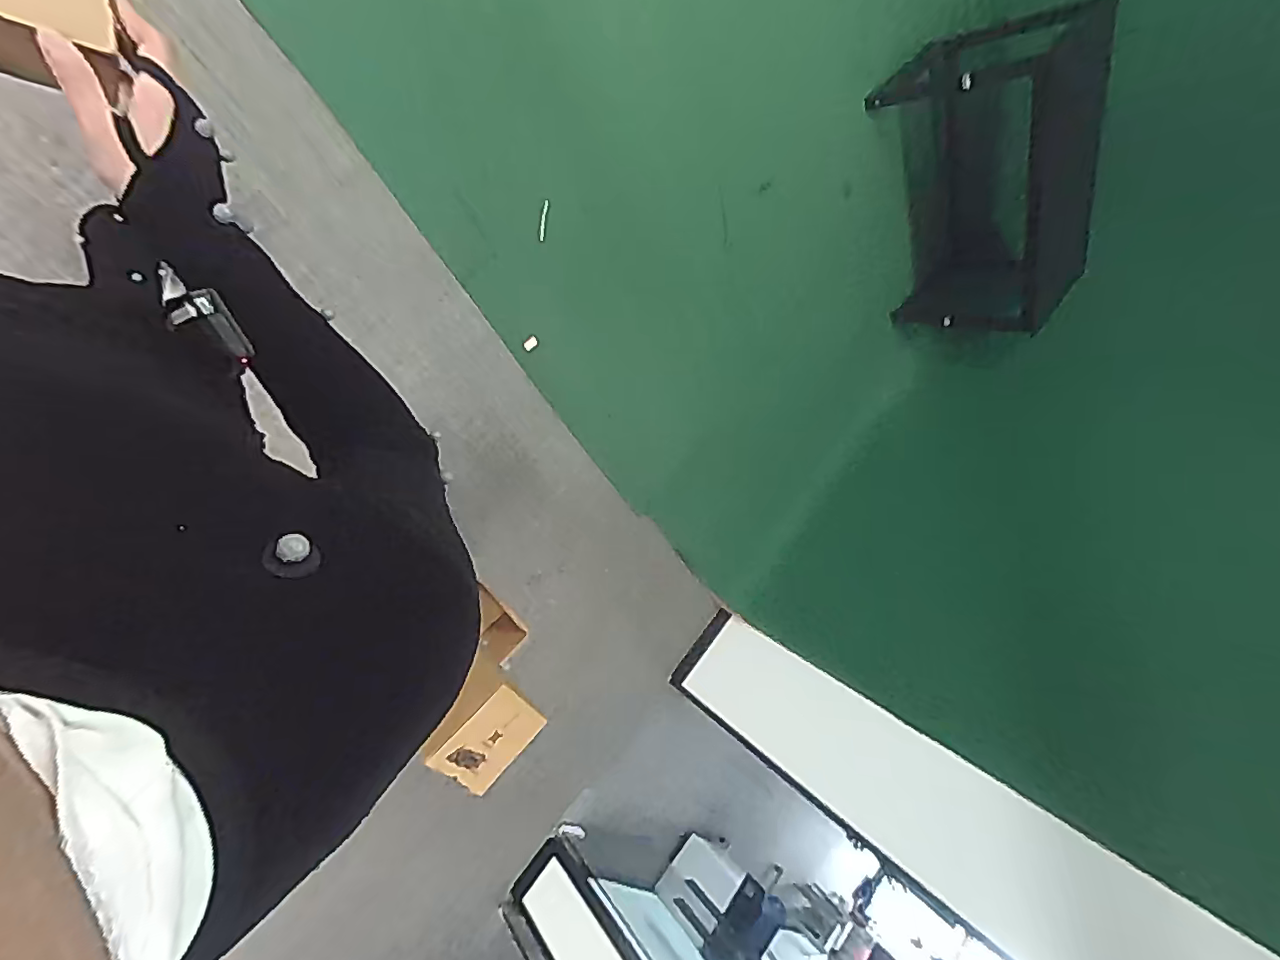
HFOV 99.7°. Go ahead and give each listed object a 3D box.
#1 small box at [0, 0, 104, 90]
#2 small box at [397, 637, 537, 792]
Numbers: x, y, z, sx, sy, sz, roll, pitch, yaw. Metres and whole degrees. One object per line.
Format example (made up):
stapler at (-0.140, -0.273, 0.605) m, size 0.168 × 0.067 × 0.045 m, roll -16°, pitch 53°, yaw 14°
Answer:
small box at (-0.498, -0.405, 0.374) m, size 0.179 × 0.176 × 0.168 m, roll -4°, pitch 107°, yaw -43°
small box at (-0.337, 0.441, 1.033) m, size 0.179 × 0.176 × 0.168 m, roll -43°, pitch 130°, yaw -18°
